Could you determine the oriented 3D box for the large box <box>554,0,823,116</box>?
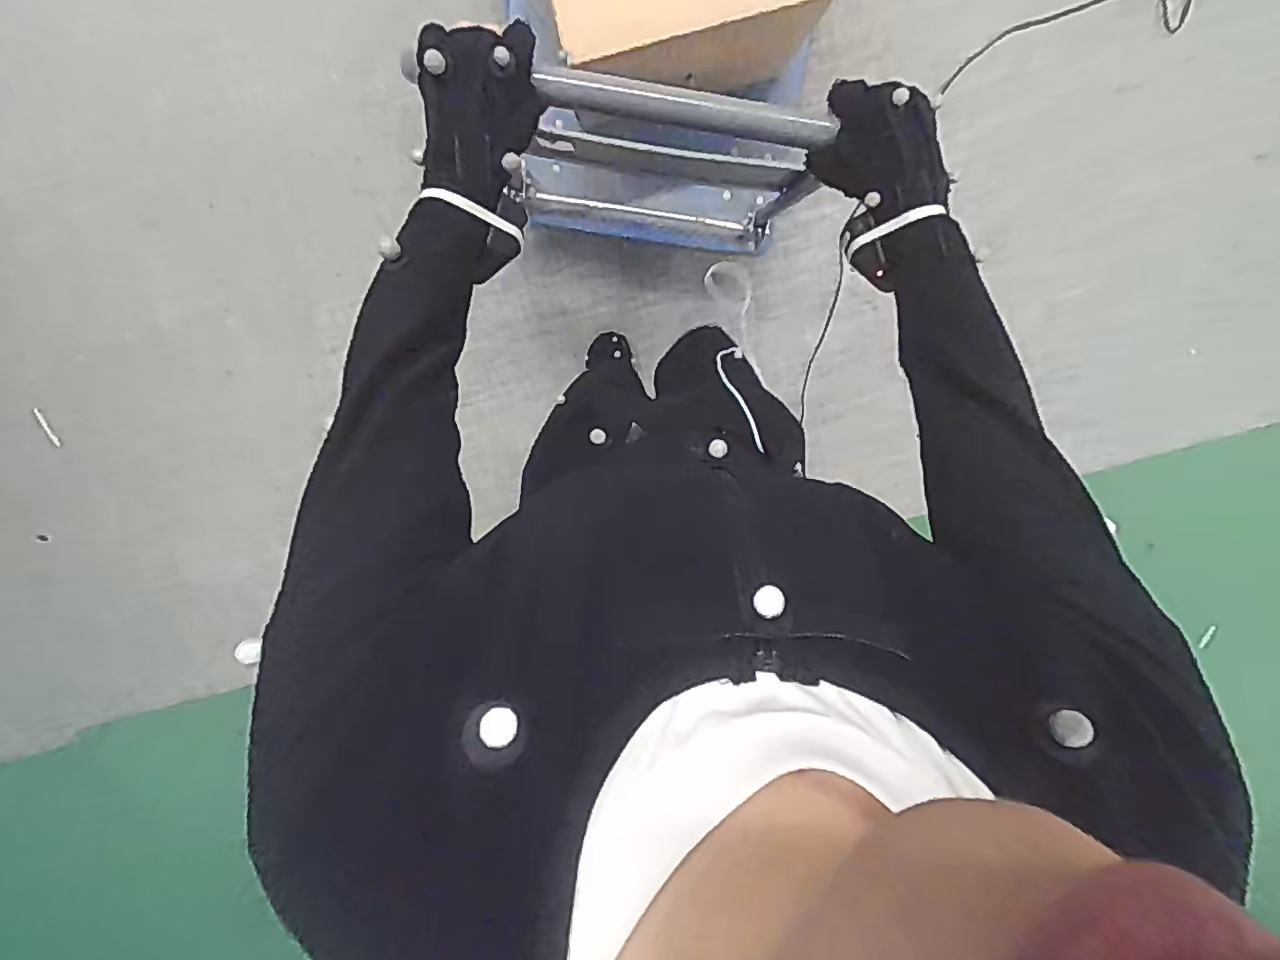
[{"bbox_3d":[0.053,-0.847,0.864,0.408,0.320,0.320,-13,108,3],"label":"large box"}]
